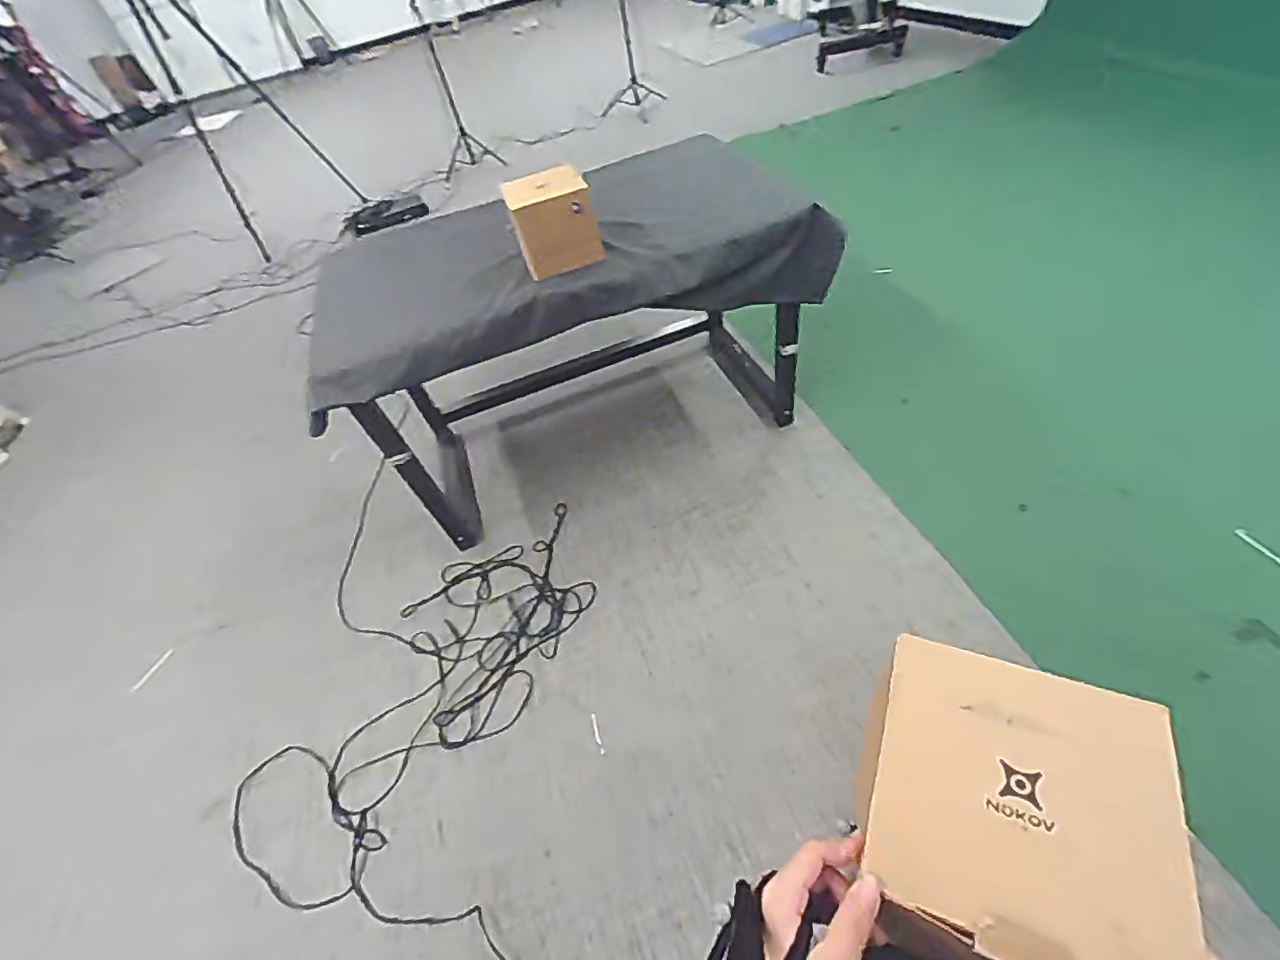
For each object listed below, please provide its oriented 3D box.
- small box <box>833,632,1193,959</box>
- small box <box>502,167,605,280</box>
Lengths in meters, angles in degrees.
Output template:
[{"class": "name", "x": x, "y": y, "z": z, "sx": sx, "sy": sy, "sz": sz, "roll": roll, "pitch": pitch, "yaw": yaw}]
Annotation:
[{"class": "small box", "x": 0.245, "y": 0.248, "z": 0.398, "sx": 0.168, "sy": 0.176, "sz": 0.179, "roll": 12, "pitch": 50, "yaw": 22}, {"class": "small box", "x": -0.197, "y": -0.589, "z": 1.251, "sx": 0.179, "sy": 0.176, "sz": 0.168, "roll": -20, "pitch": 49, "yaw": -6}]
